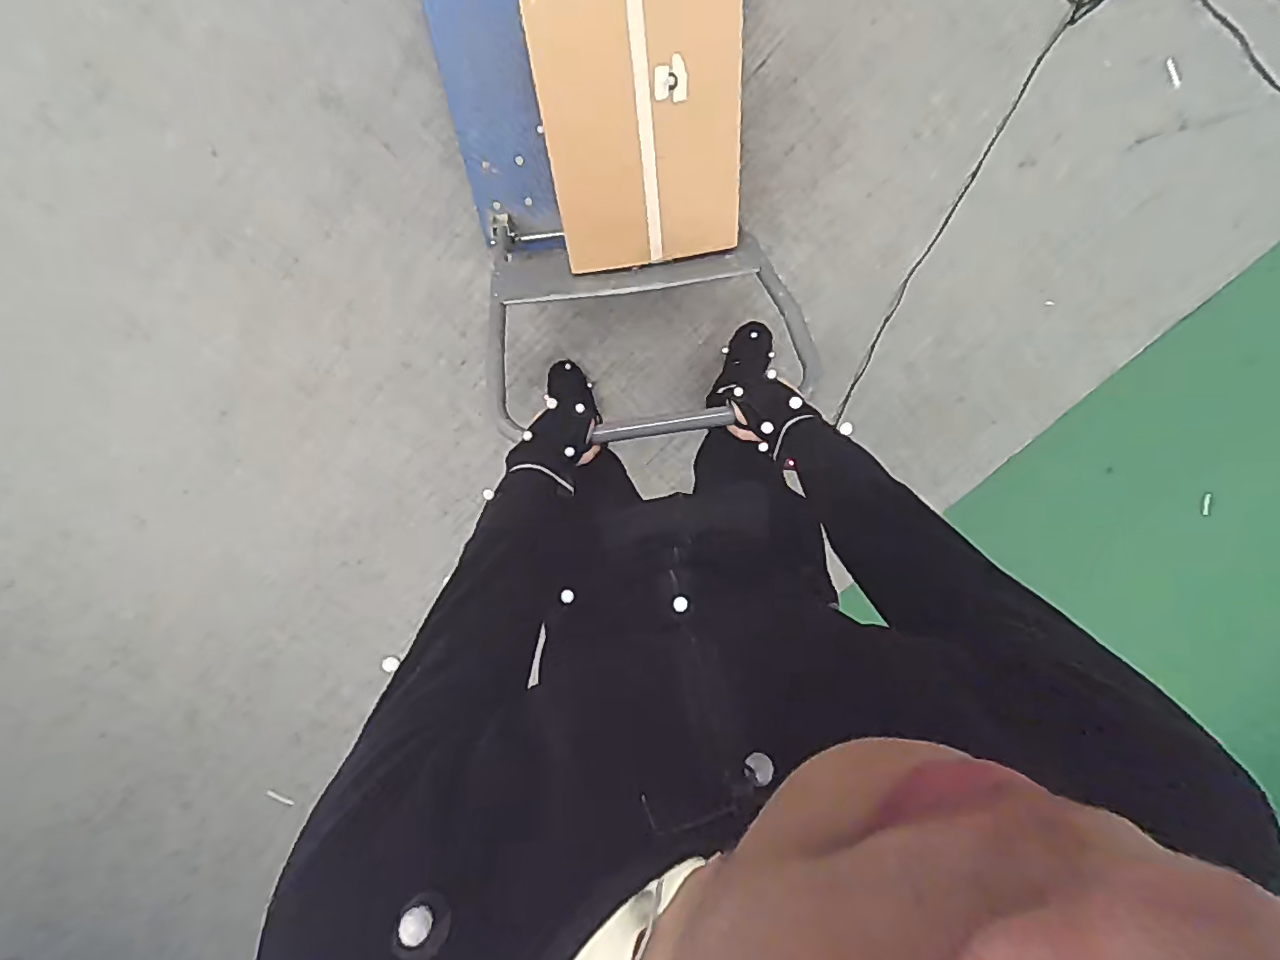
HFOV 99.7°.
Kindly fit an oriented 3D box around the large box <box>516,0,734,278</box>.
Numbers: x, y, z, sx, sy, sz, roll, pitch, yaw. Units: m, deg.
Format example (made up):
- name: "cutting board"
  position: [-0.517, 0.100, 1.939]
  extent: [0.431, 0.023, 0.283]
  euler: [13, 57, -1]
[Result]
- name: "large box"
  position: [-0.017, -0.646, 0.996]
  extent: [0.320, 0.320, 0.408]
  euler: [-10, 133, -2]
